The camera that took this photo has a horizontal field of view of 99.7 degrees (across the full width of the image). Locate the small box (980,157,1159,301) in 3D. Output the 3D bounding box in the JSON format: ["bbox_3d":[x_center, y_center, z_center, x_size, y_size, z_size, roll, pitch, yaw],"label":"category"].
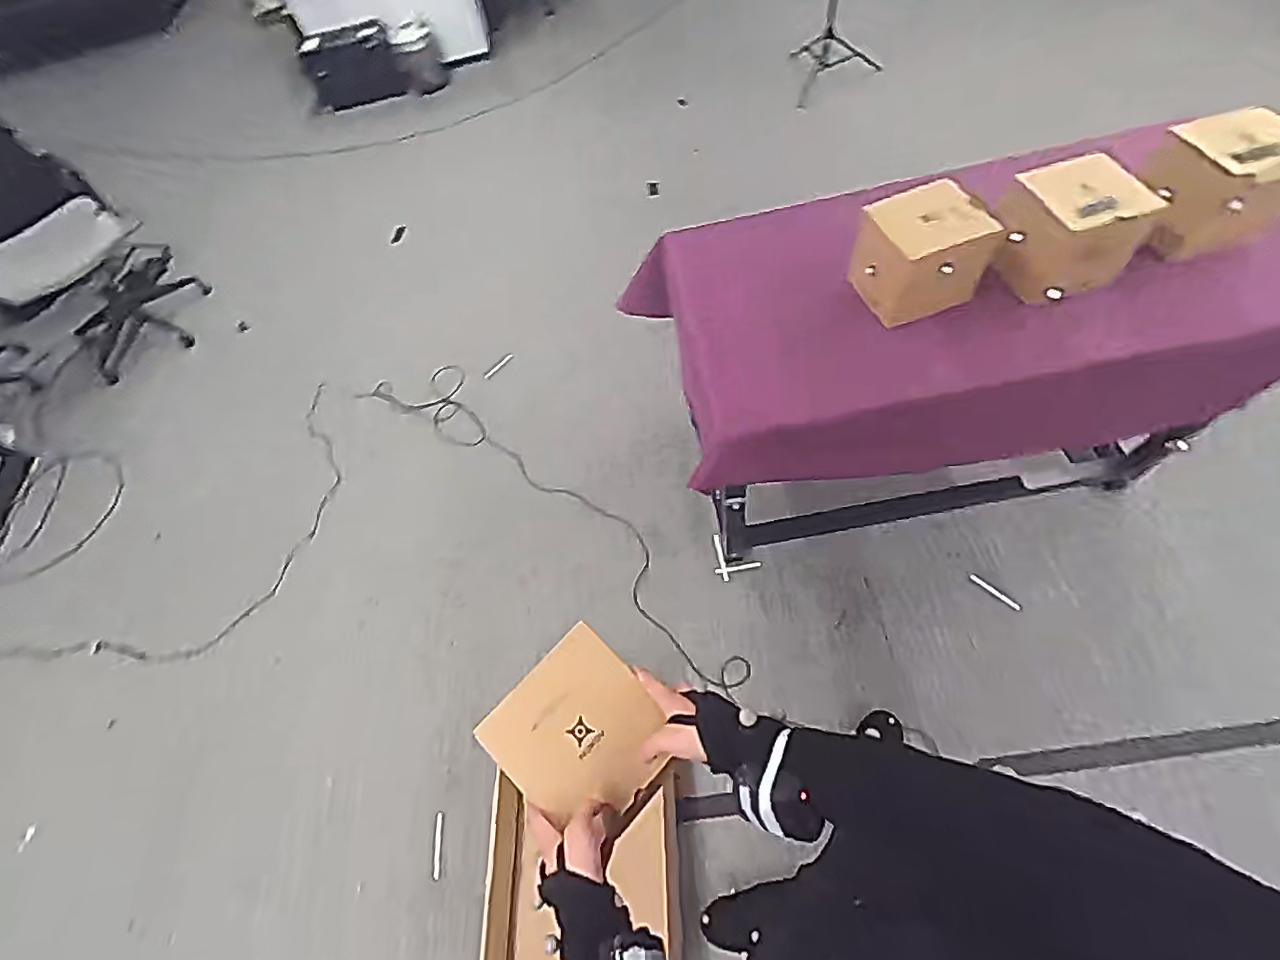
[{"bbox_3d":[0.790,-0.461,1.019,0.168,0.176,0.179,-16,58,1],"label":"small box"}]

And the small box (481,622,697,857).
[{"bbox_3d":[-0.057,0.294,0.654,0.179,0.176,0.168,44,74,11],"label":"small box"}]

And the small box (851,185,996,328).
[{"bbox_3d":[0.528,-0.423,1.043,0.179,0.176,0.168,-19,60,-1],"label":"small box"}]
